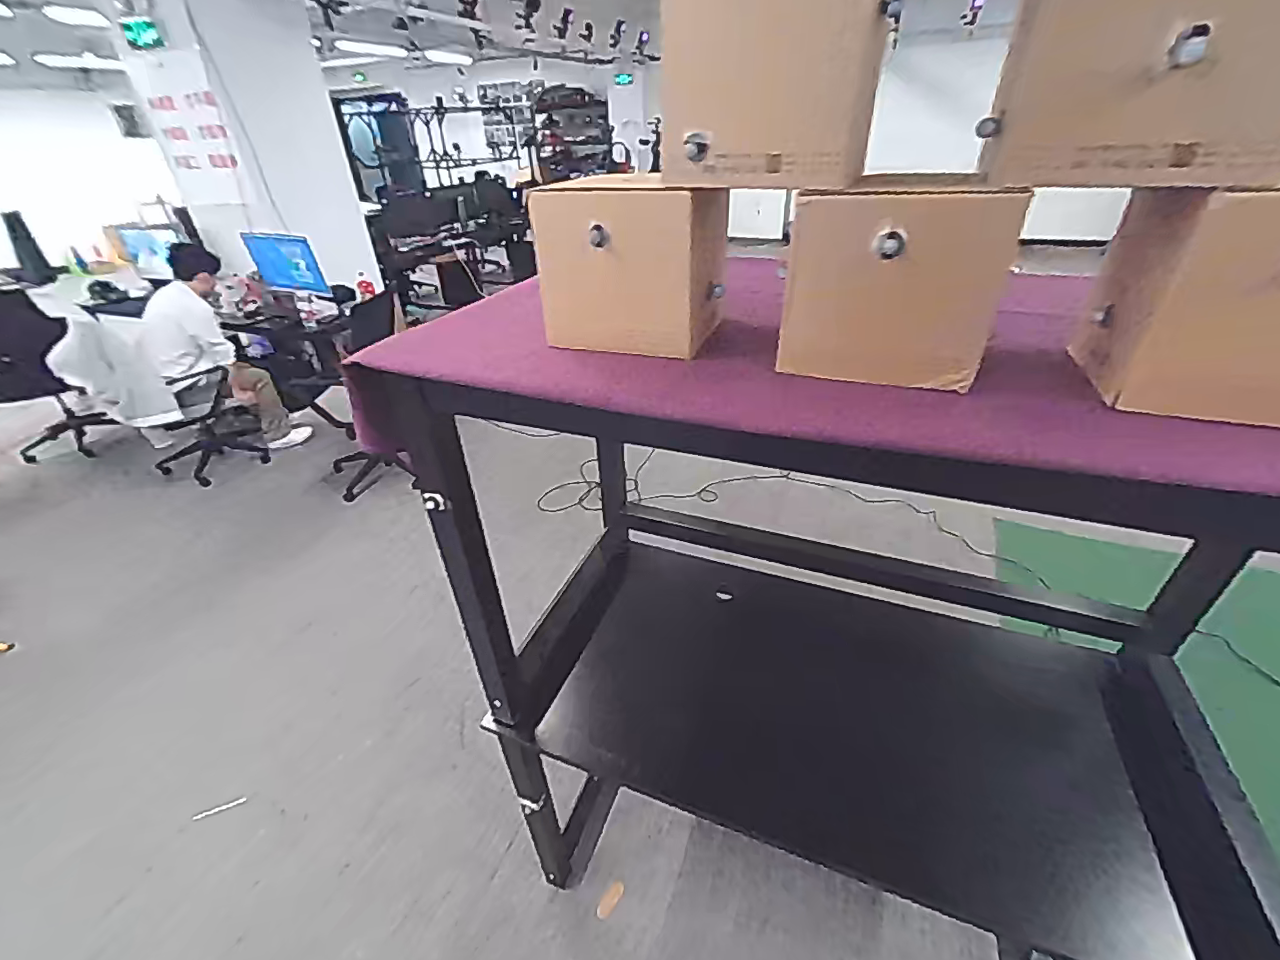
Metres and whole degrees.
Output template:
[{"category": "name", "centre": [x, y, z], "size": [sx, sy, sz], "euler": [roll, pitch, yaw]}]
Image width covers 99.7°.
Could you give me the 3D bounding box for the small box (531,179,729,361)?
[{"category": "small box", "centre": [-0.001, -0.248, 0.631], "size": [0.179, 0.176, 0.168], "euler": [10, 36, 18]}]

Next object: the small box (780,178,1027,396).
[{"category": "small box", "centre": [0.243, -0.195, 0.533], "size": [0.179, 0.176, 0.168], "euler": [11, 36, 20]}]

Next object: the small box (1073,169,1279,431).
[{"category": "small box", "centre": [0.501, -0.148, 0.440], "size": [0.179, 0.176, 0.168], "euler": [10, 35, 21]}]

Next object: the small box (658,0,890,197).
[{"category": "small box", "centre": [0.126, -0.362, 0.497], "size": [0.168, 0.176, 0.179], "euler": [13, 36, 21]}]

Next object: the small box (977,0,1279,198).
[{"category": "small box", "centre": [0.374, -0.313, 0.405], "size": [0.168, 0.176, 0.179], "euler": [10, 36, 20]}]
